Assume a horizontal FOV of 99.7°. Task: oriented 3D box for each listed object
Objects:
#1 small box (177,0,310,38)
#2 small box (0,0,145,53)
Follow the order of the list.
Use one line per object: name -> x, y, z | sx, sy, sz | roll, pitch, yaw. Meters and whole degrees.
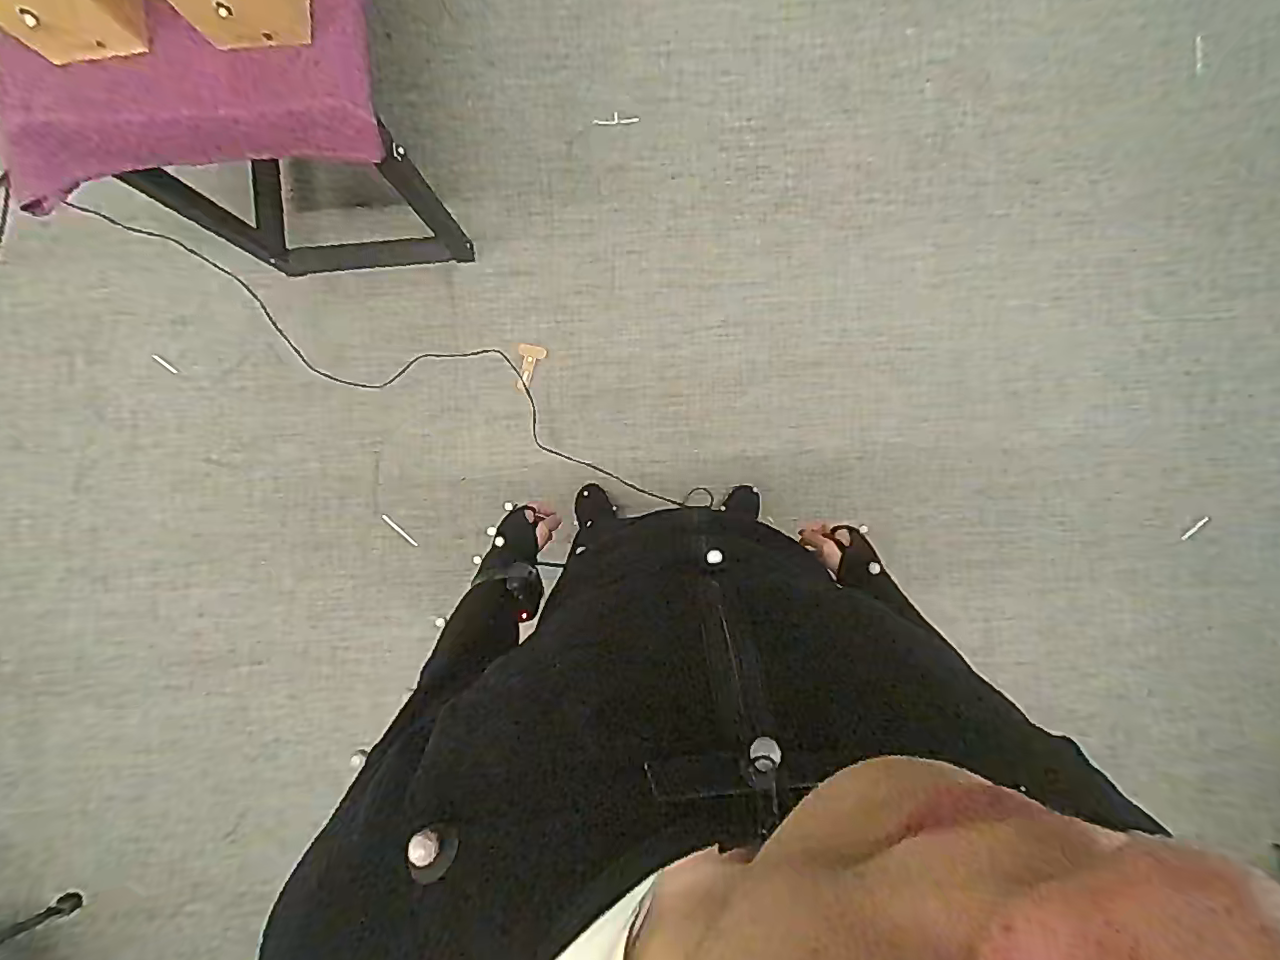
small box -> -0.632, -0.816, 0.823 | 0.168, 0.176, 0.179 | -2, 90, 2
small box -> -0.916, -0.801, 0.831 | 0.168, 0.176, 0.179 | -7, 90, 1
